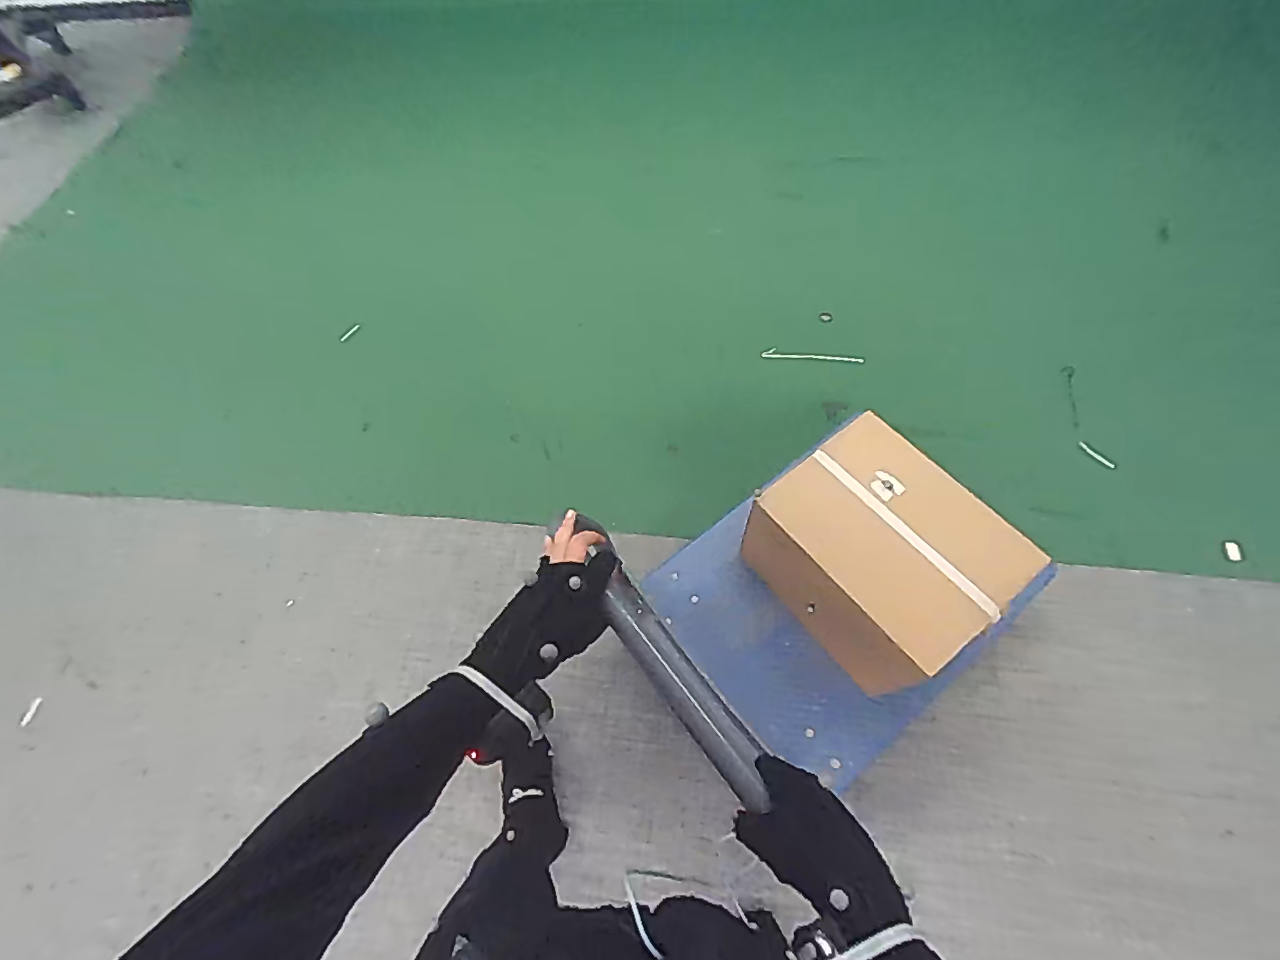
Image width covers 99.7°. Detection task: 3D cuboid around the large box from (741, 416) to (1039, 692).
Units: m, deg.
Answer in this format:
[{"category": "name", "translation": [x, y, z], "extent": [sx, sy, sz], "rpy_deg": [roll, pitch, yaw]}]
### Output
[{"category": "large box", "translation": [0.462, 0.156, 1.104], "extent": [0.320, 0.320, 0.408], "rpy_deg": [-35, 64, -14]}]
